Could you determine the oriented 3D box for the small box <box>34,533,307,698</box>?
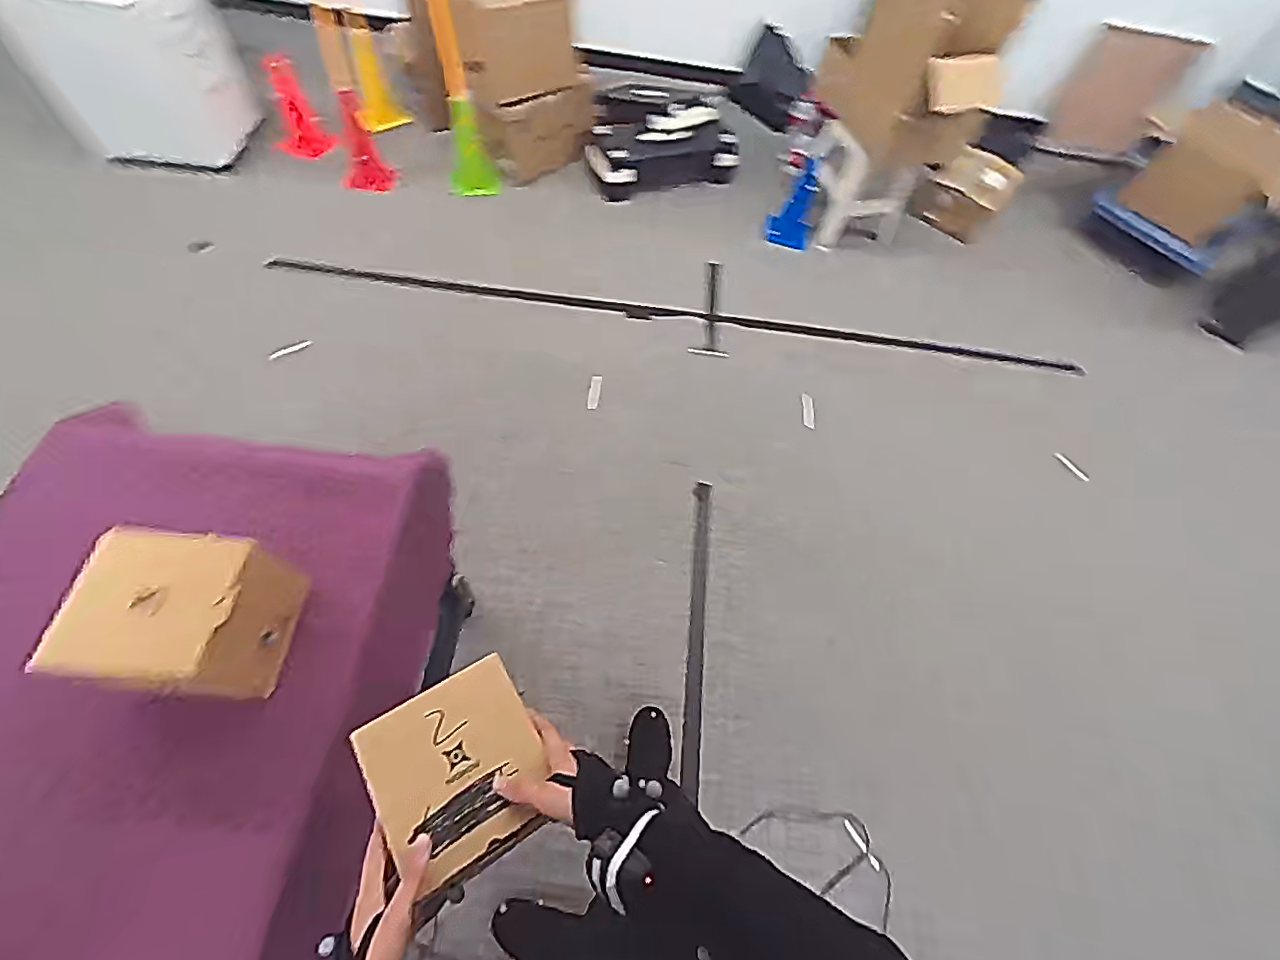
[{"bbox_3d":[-0.582,0.183,0.704,0.179,0.176,0.168,5,60,-4],"label":"small box"}]
